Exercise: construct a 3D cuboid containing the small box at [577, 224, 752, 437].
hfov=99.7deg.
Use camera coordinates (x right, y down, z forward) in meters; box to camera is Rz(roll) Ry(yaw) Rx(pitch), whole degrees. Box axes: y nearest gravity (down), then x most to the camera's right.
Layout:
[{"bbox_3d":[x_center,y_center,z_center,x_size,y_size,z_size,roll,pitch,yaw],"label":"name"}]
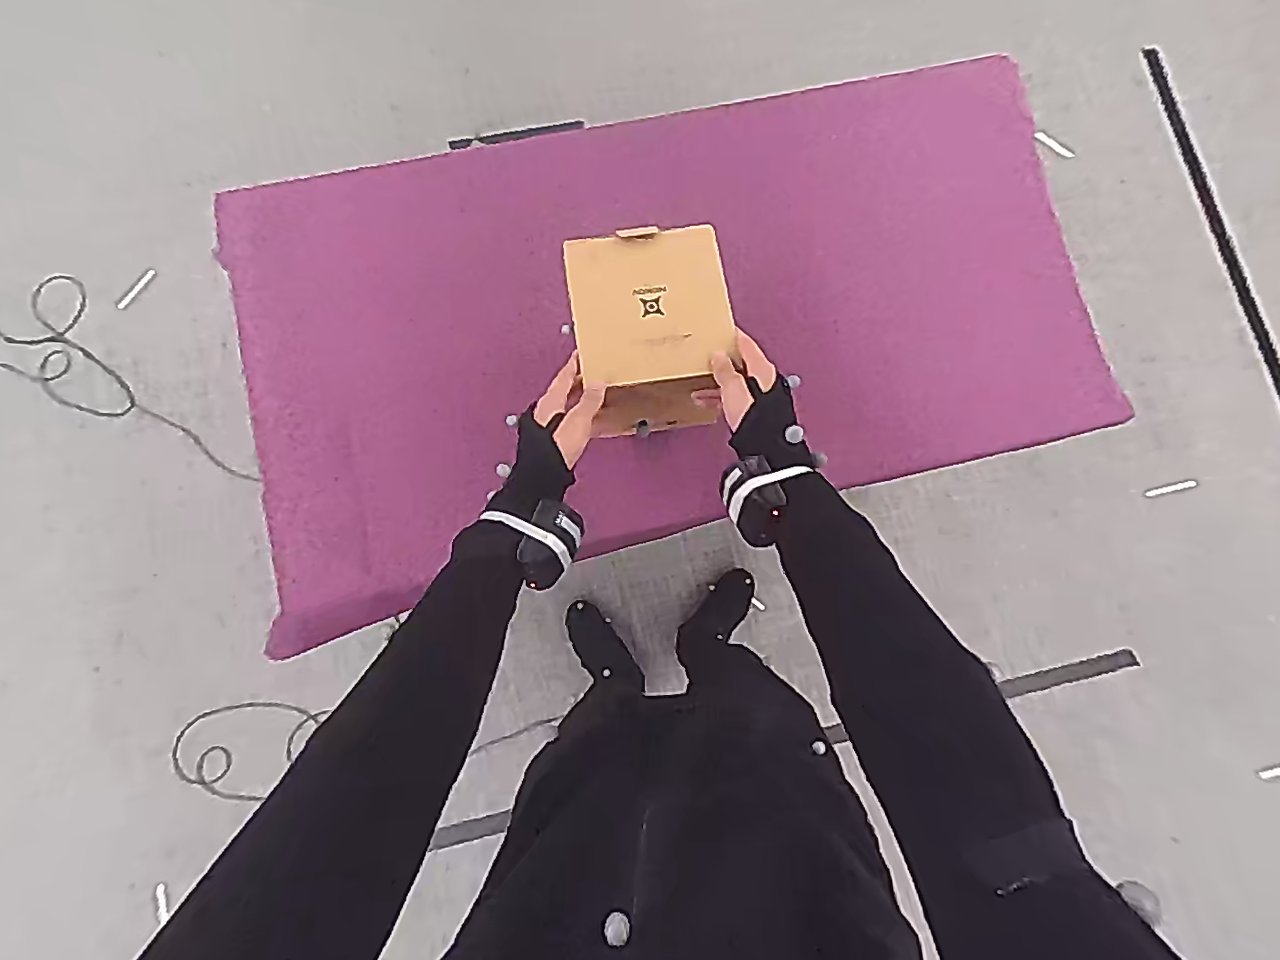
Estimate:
[{"bbox_3d":[0.018,-0.164,0.632,0.168,0.176,0.179,-7,77,-4],"label":"small box"}]
